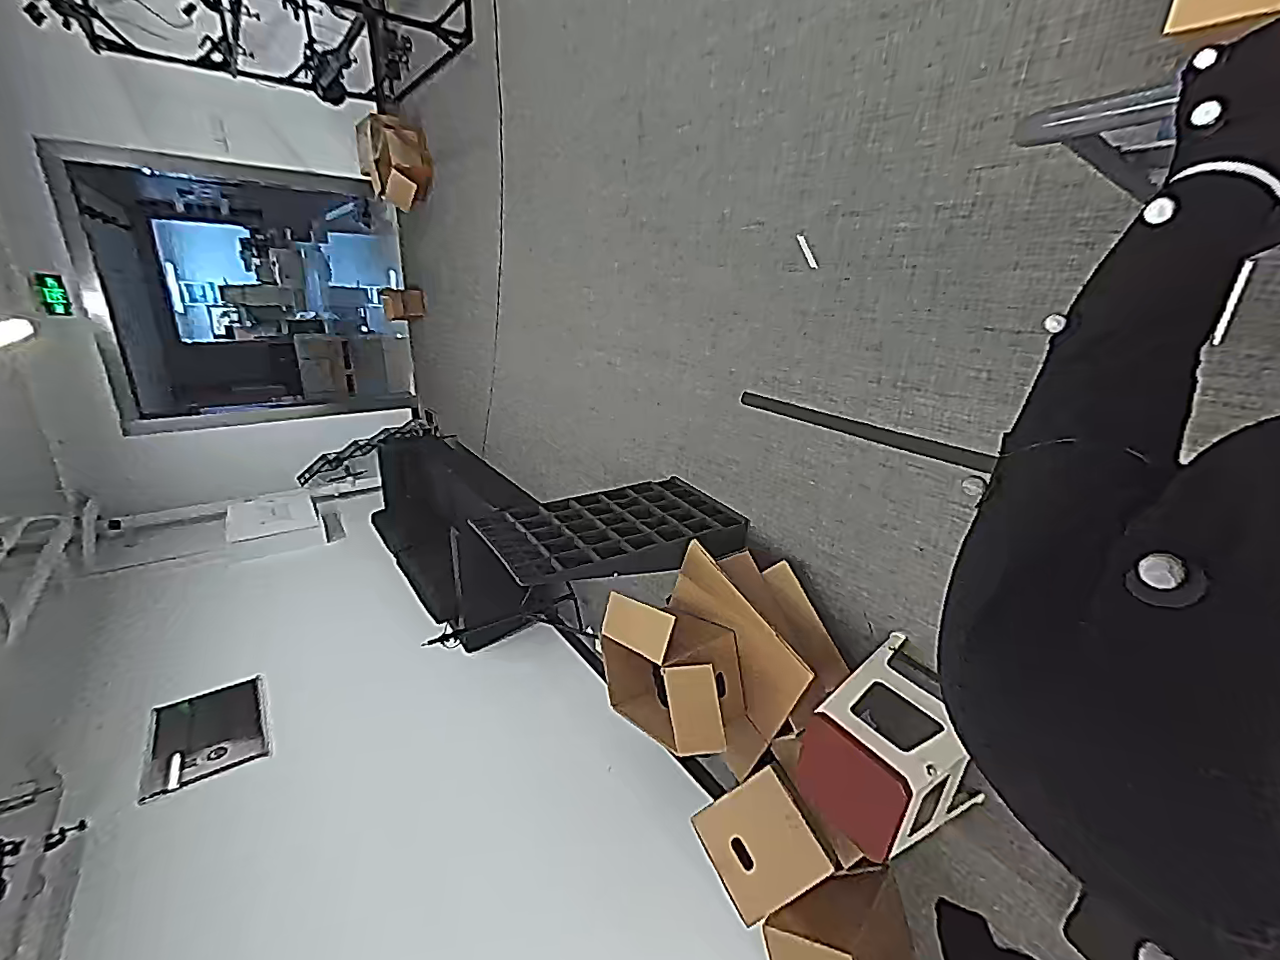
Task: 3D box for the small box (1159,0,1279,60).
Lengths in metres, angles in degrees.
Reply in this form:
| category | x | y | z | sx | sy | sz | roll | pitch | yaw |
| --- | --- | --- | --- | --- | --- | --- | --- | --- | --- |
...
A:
| category | x | y | z | sx | sy | sz | roll | pitch | yaw |
| --- | --- | --- | --- | --- | --- | --- | --- | --- | --- |
| small box | 0.889 | -0.723 | 0.756 | 0.179 | 0.176 | 0.168 | 28 | 122 | 47 |
